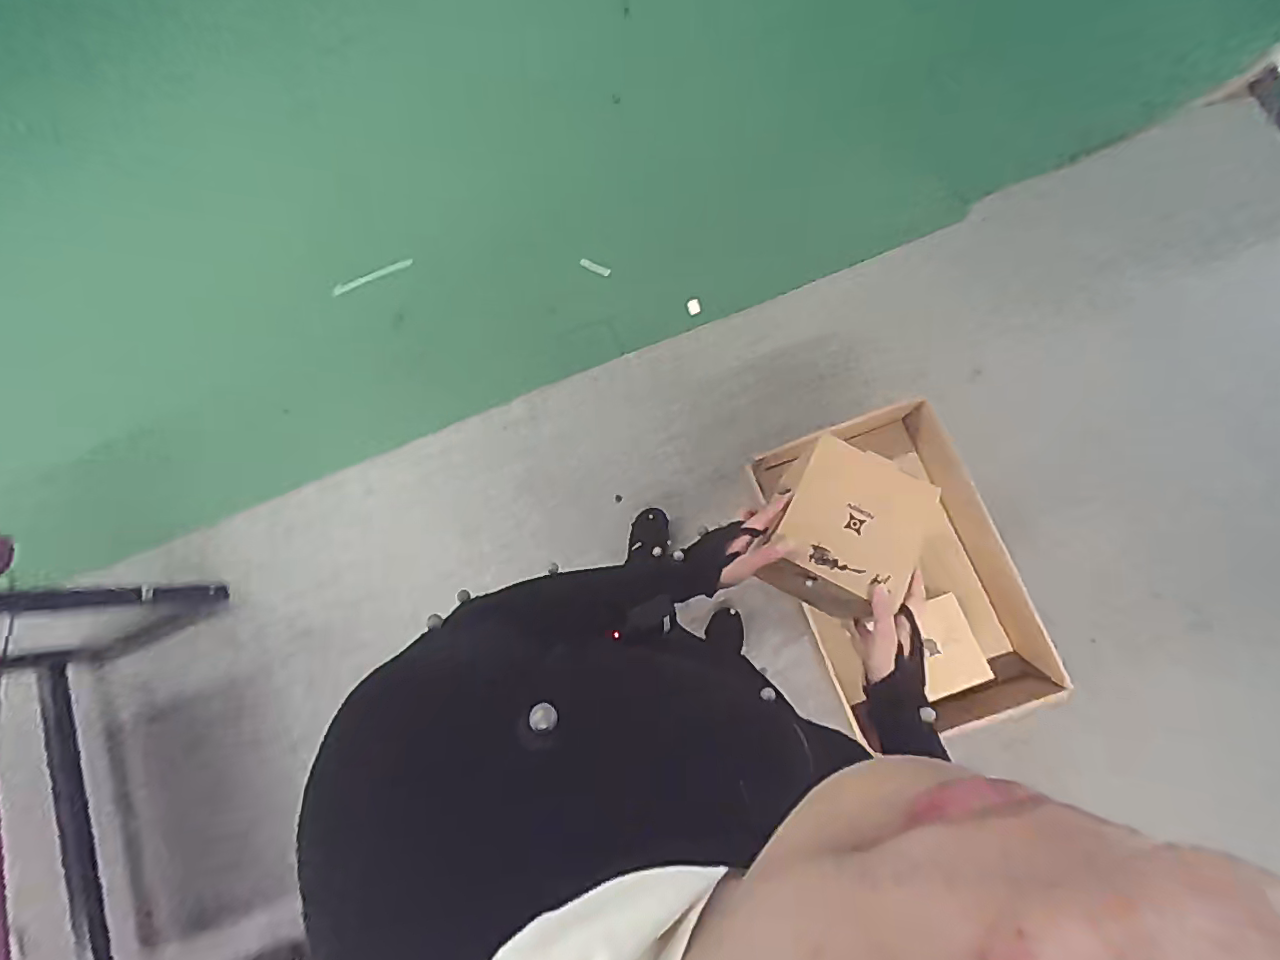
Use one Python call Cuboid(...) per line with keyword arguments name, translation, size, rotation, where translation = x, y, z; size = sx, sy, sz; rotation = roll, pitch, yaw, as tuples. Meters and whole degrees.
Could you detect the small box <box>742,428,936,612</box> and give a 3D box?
Cuboid(name="small box", translation=(0.255, 0.063, 0.733), size=(0.168, 0.176, 0.179), rotation=(27, 75, 5))
